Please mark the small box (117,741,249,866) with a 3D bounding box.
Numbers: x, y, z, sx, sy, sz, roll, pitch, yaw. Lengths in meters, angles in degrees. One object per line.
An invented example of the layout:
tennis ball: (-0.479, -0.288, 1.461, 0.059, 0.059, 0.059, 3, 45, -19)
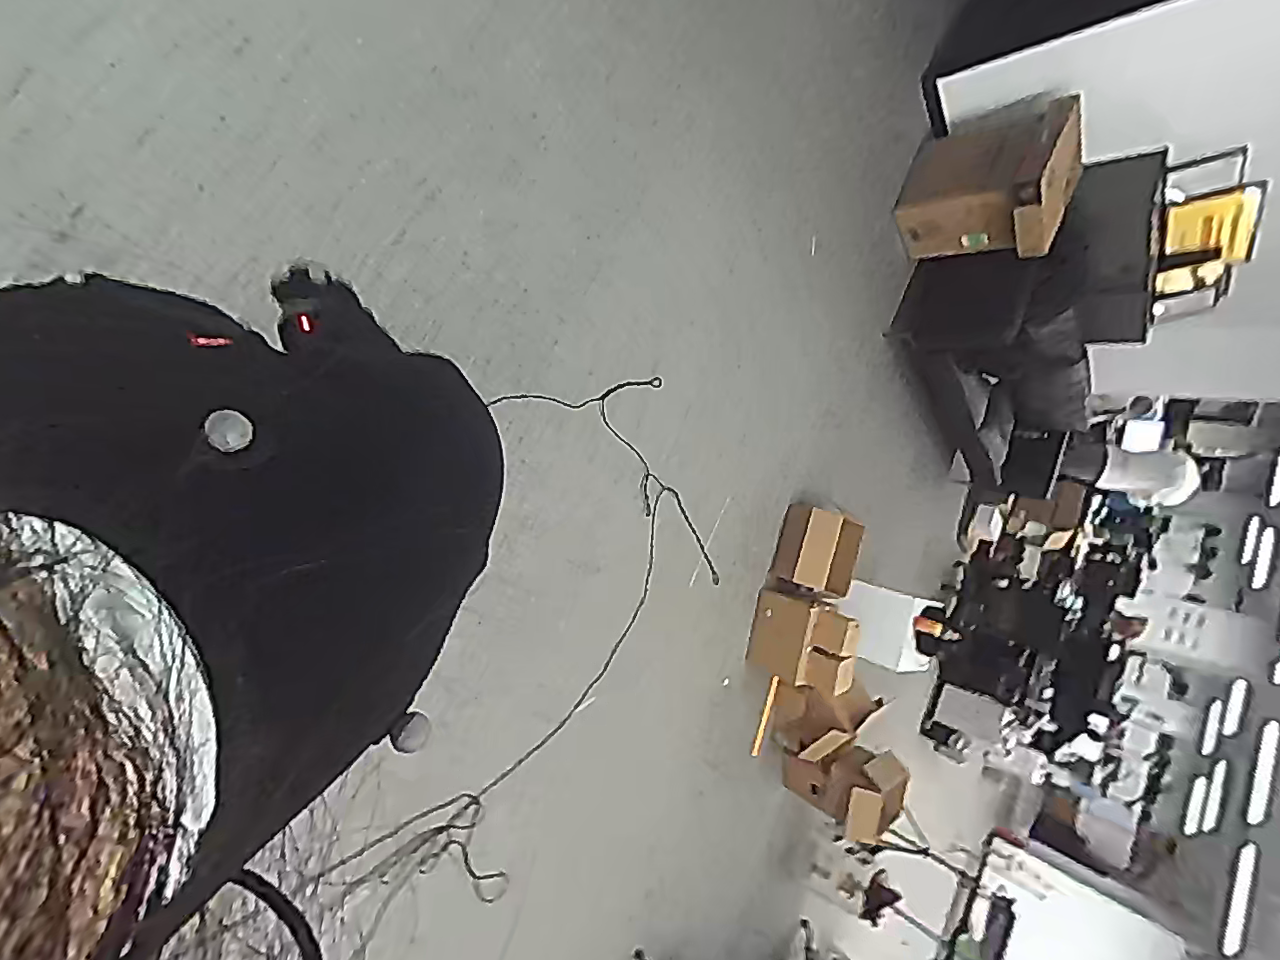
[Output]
small box: (-1.009, 0.699, 1.188, 0.168, 0.176, 0.179, 32, 77, -44)
